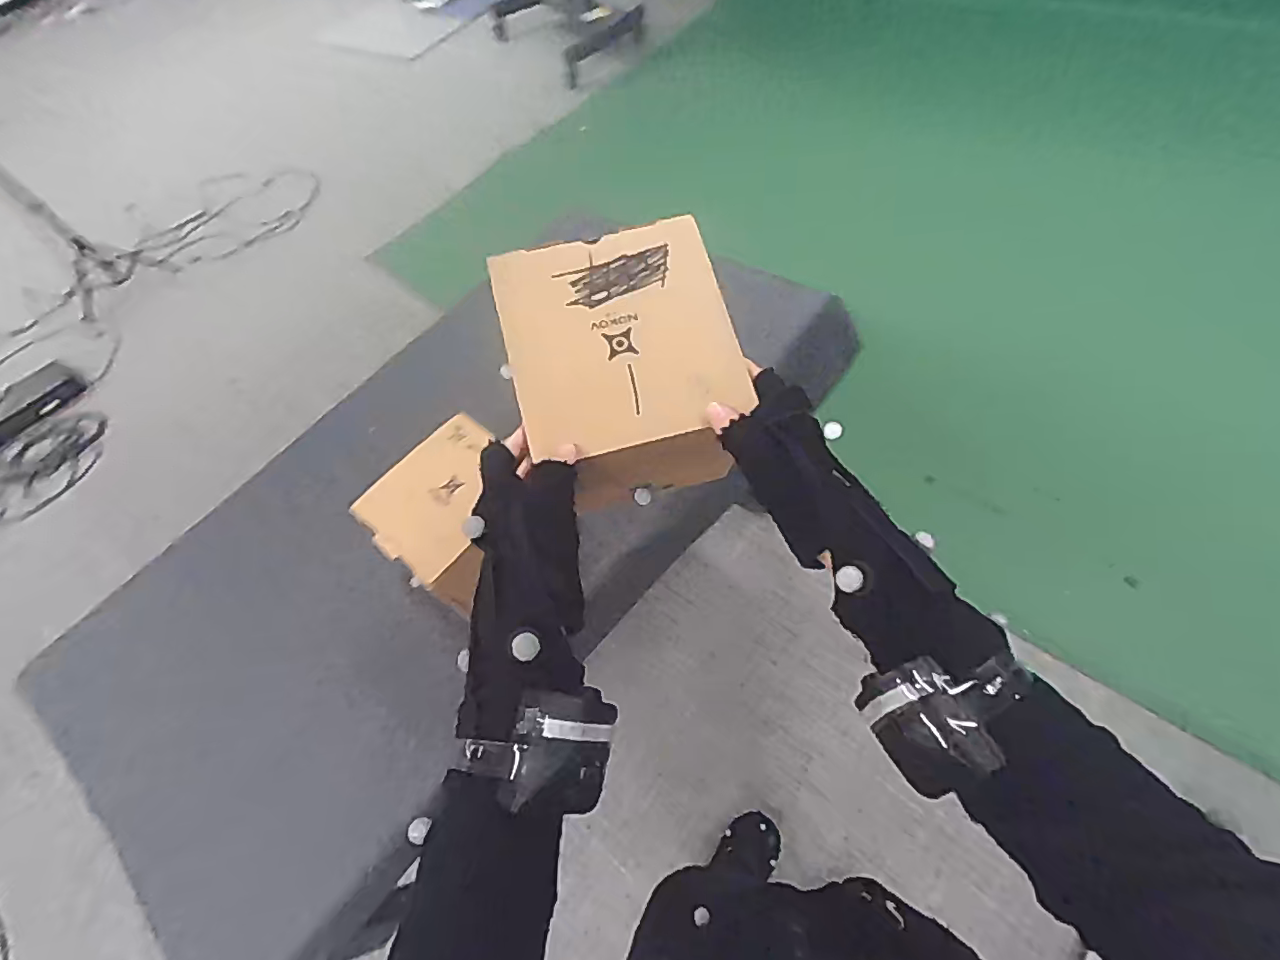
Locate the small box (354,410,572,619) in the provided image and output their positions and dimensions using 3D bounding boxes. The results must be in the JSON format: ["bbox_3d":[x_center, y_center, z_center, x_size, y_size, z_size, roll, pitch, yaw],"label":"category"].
[{"bbox_3d":[-0.214,0.051,0.698,0.168,0.176,0.179,34,71,26],"label":"small box"}]
